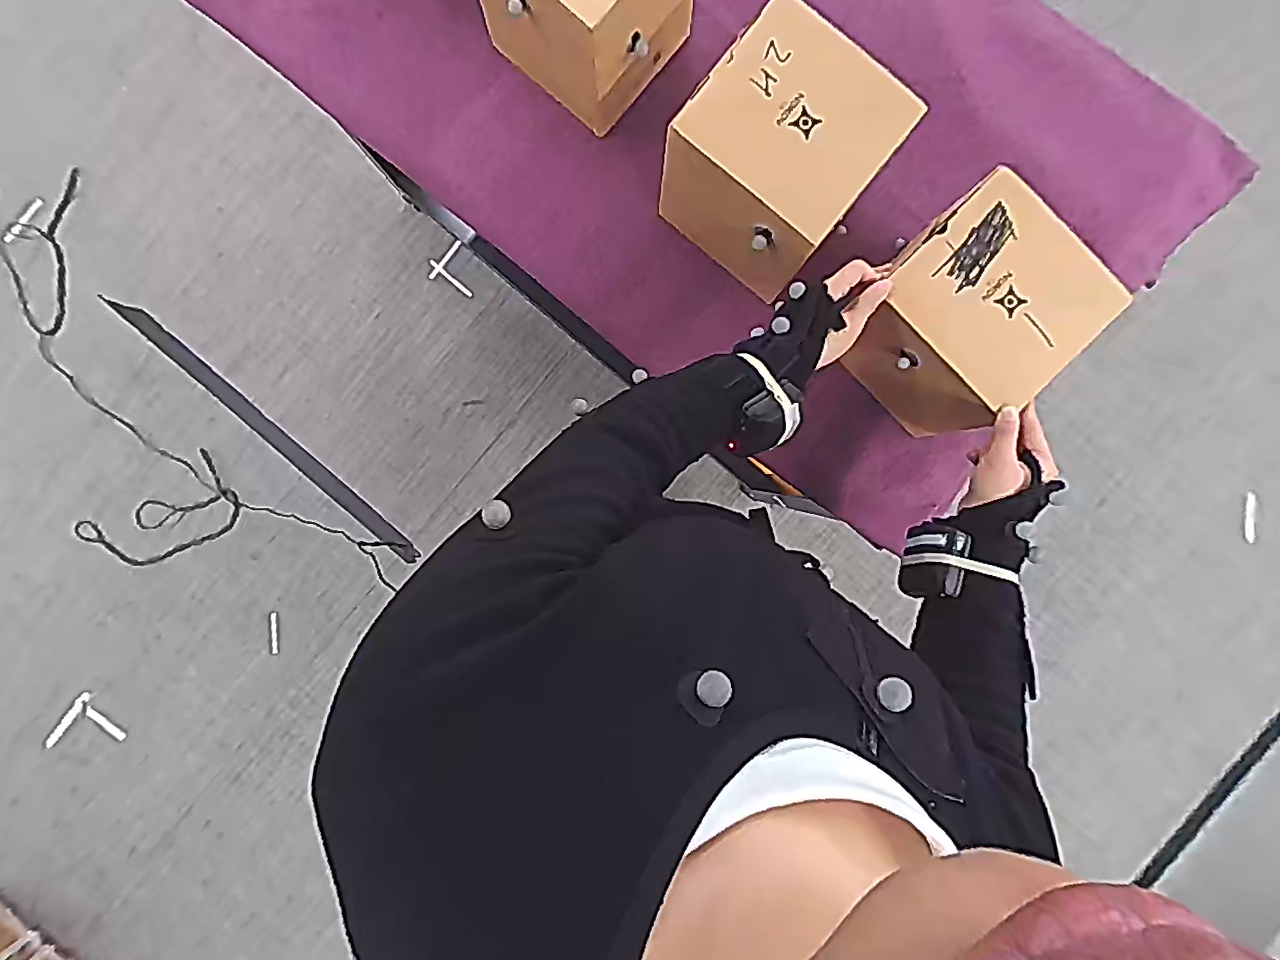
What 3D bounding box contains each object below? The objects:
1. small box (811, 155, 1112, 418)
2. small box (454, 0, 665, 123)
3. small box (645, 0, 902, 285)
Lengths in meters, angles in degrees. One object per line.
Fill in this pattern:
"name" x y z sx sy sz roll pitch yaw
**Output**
"small box" 0.315 -0.182 0.573 0.179 0.176 0.168 44 90 -2
"small box" -0.083 -0.522 0.564 0.179 0.176 0.168 38 90 -1
"small box" 0.121 -0.332 0.567 0.179 0.176 0.168 37 89 -1
